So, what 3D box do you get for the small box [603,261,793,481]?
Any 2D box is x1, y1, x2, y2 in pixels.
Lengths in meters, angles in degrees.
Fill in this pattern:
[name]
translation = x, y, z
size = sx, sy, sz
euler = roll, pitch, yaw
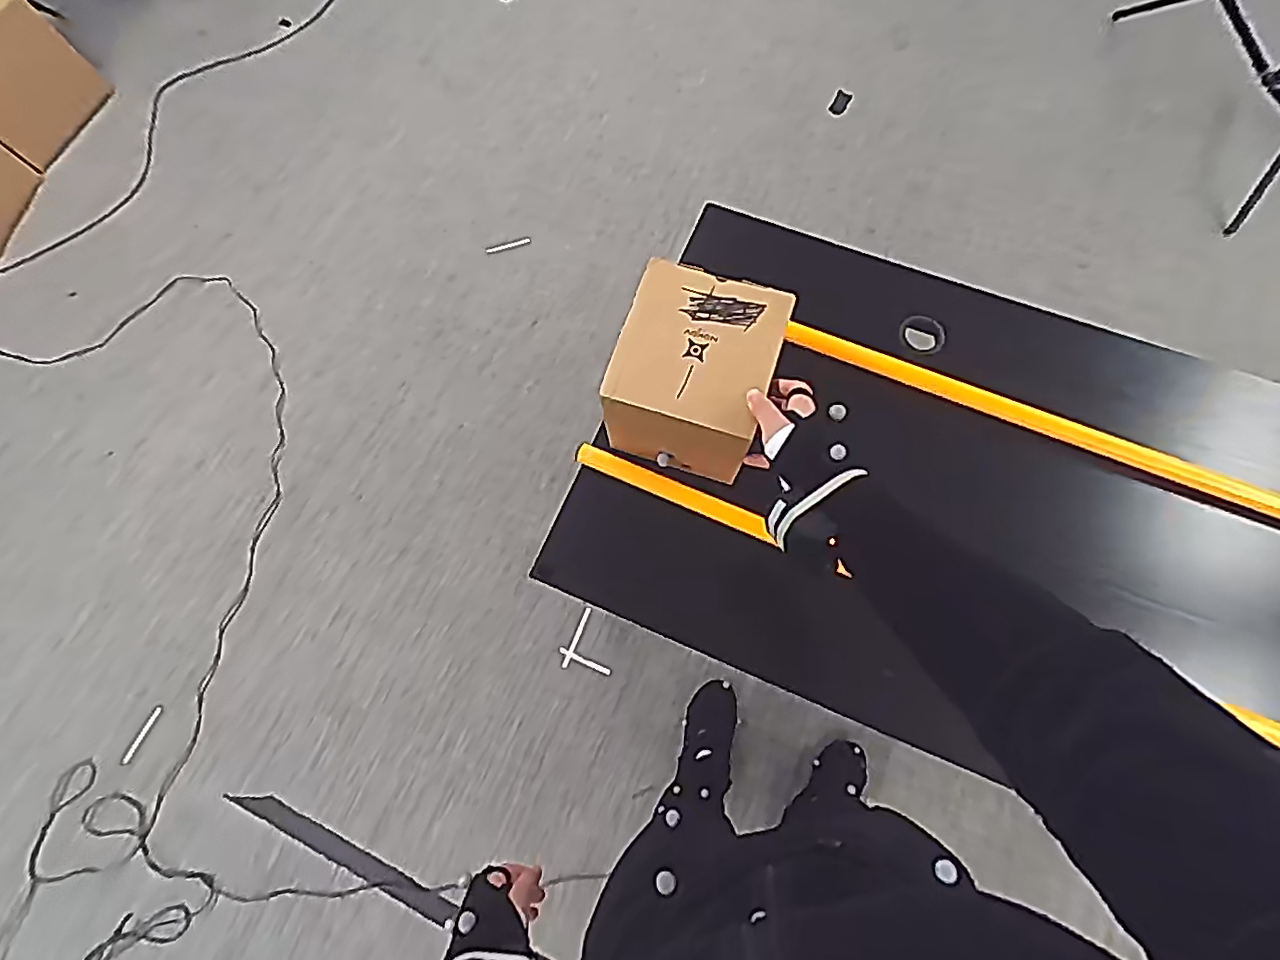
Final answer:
[small box]
translation = 0.065, -0.119, 0.648
size = 0.168, 0.176, 0.179
euler = 17, 76, 7
